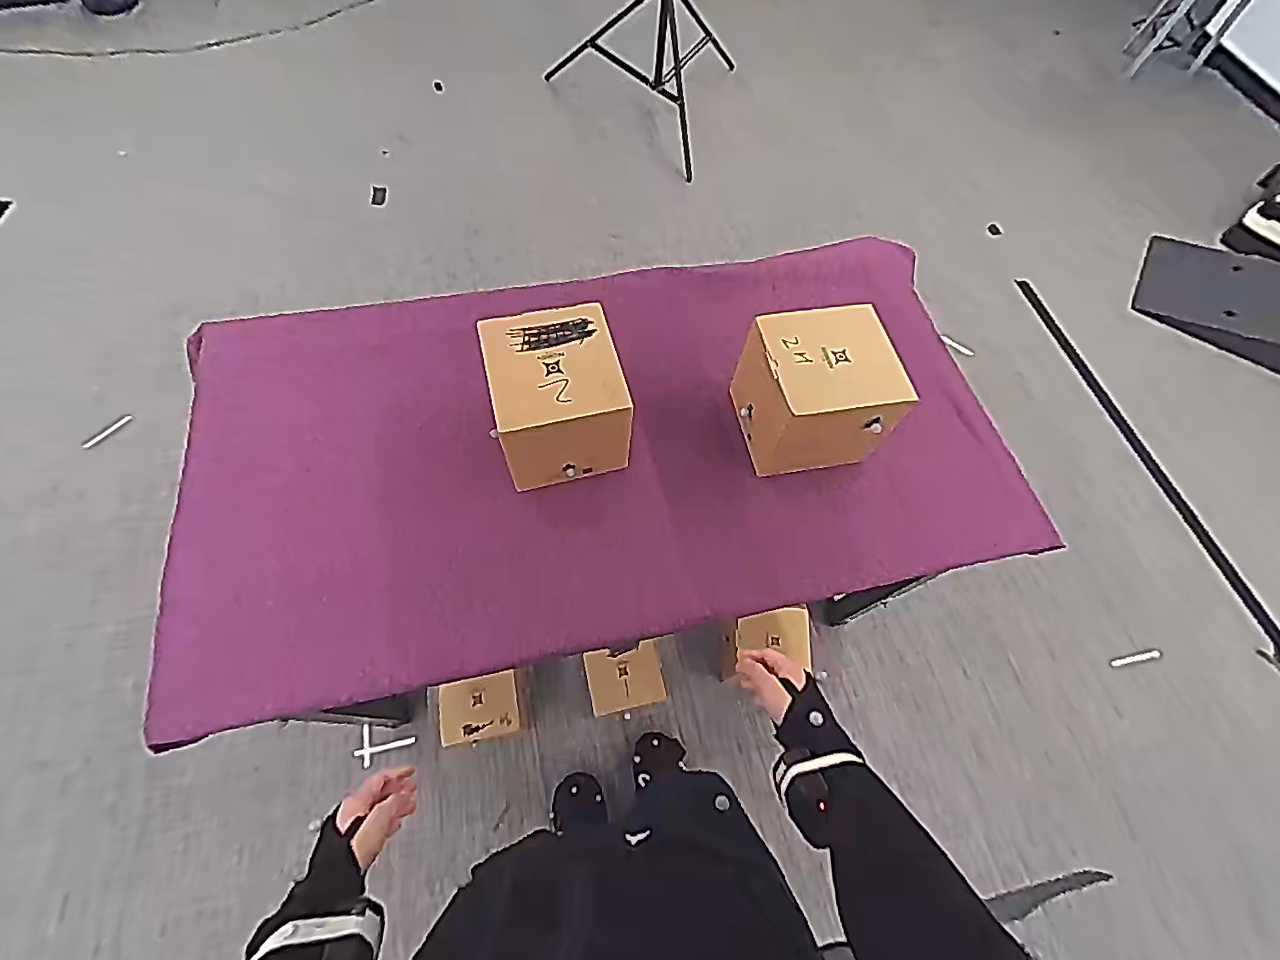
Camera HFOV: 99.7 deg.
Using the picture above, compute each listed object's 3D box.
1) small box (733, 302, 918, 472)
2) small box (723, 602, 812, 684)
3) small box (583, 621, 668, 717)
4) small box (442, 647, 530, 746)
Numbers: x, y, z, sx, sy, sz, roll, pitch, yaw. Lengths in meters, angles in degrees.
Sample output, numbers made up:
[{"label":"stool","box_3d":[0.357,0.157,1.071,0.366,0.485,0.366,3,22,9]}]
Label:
[{"label":"small box","box_3d":[0.251,-0.128,0.778,0.179,0.176,0.168,-9,64,-7]},{"label":"small box","box_3d":[0.309,0.406,1.335,0.179,0.176,0.168,5,64,-1]},{"label":"small box","box_3d":[-0.041,0.453,1.287,0.168,0.176,0.179,-11,66,-9]},{"label":"small box","box_3d":[-0.351,0.502,1.244,0.168,0.176,0.179,-8,63,-8]}]
